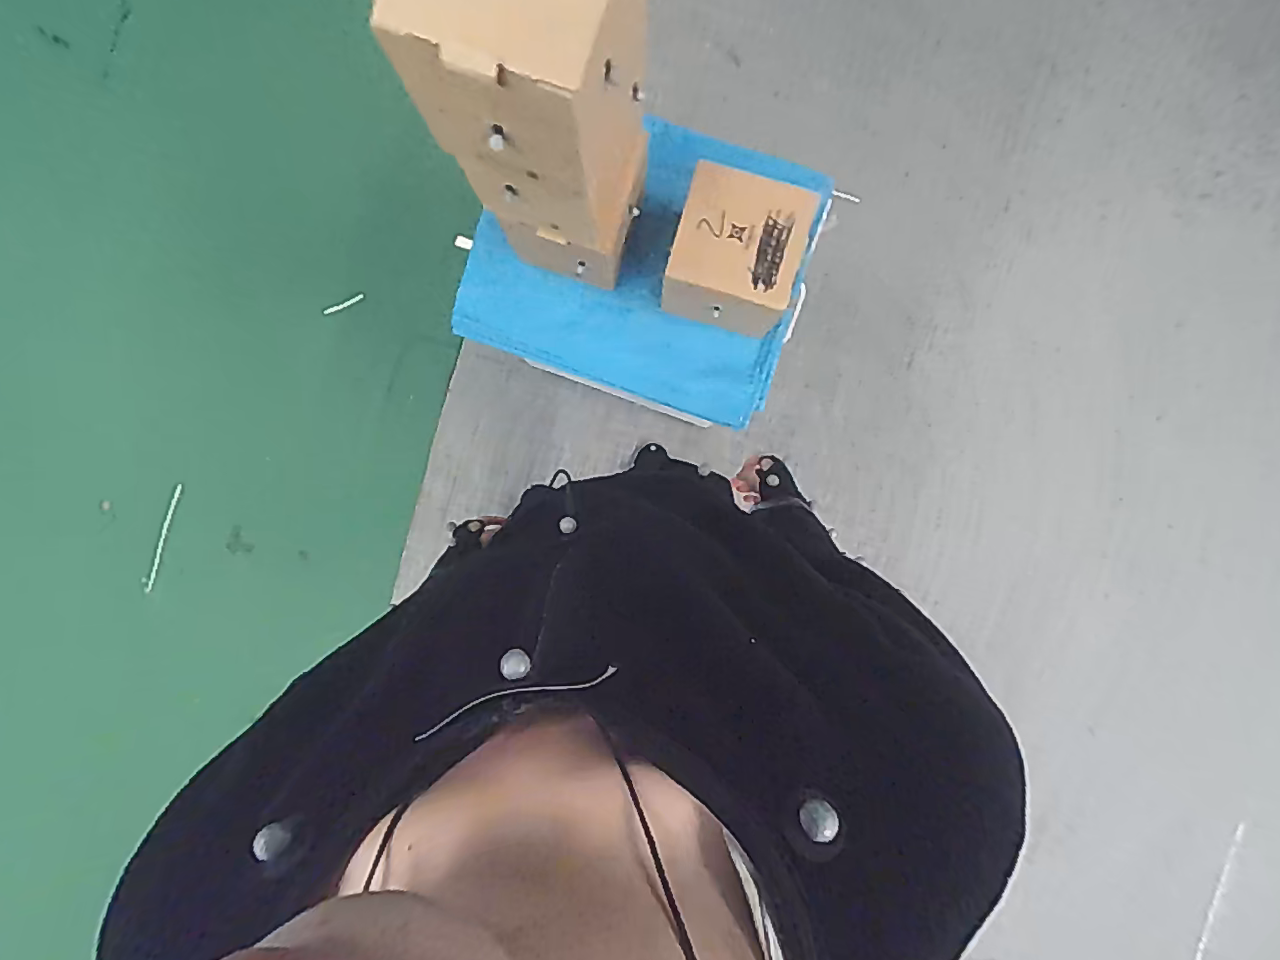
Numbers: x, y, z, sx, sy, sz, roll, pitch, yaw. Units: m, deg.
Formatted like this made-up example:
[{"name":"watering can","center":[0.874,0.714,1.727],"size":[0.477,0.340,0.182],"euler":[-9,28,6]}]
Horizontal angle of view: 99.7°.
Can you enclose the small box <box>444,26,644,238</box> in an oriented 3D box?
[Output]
[{"name":"small box","center":[-0.100,-0.419,0.637],"size":[0.168,0.176,0.179],"euler":[20,91,-2]}]

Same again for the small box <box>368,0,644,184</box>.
[{"name":"small box","center":[-0.096,-0.401,0.474],"size":[0.168,0.176,0.179],"euler":[20,92,-2]}]

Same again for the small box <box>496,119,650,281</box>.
[{"name":"small box","center":[-0.090,-0.422,0.799],"size":[0.168,0.176,0.179],"euler":[19,91,-2]}]
